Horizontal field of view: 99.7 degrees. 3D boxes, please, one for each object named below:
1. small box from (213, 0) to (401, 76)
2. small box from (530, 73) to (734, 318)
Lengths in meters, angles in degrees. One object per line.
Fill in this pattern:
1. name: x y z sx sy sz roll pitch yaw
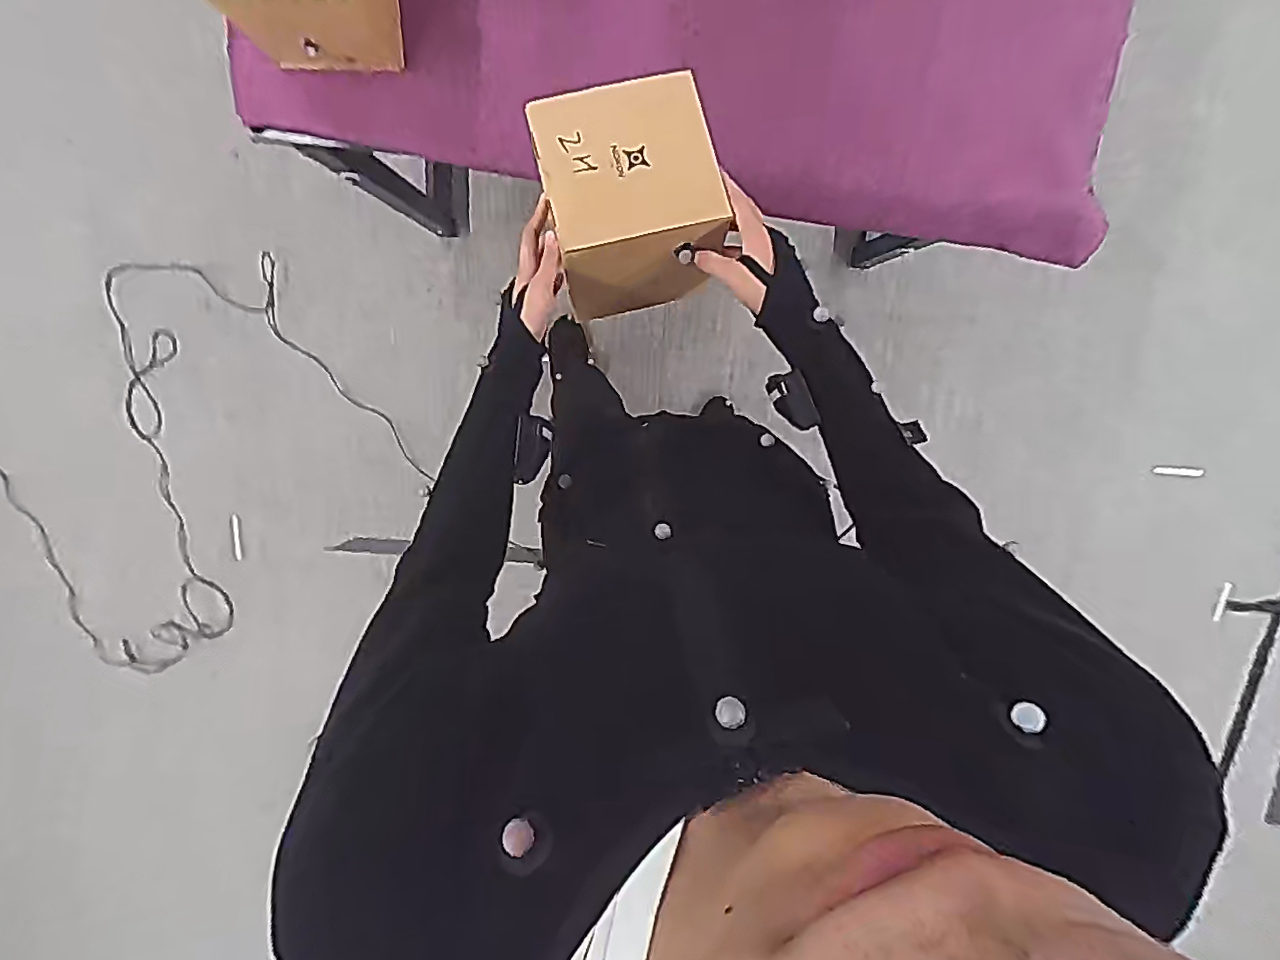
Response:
1. small box: -0.401 -0.621 0.639 0.168 0.176 0.179 -1 103 -3
2. small box: -0.013 -0.305 0.612 0.179 0.176 0.168 -13 84 -3
